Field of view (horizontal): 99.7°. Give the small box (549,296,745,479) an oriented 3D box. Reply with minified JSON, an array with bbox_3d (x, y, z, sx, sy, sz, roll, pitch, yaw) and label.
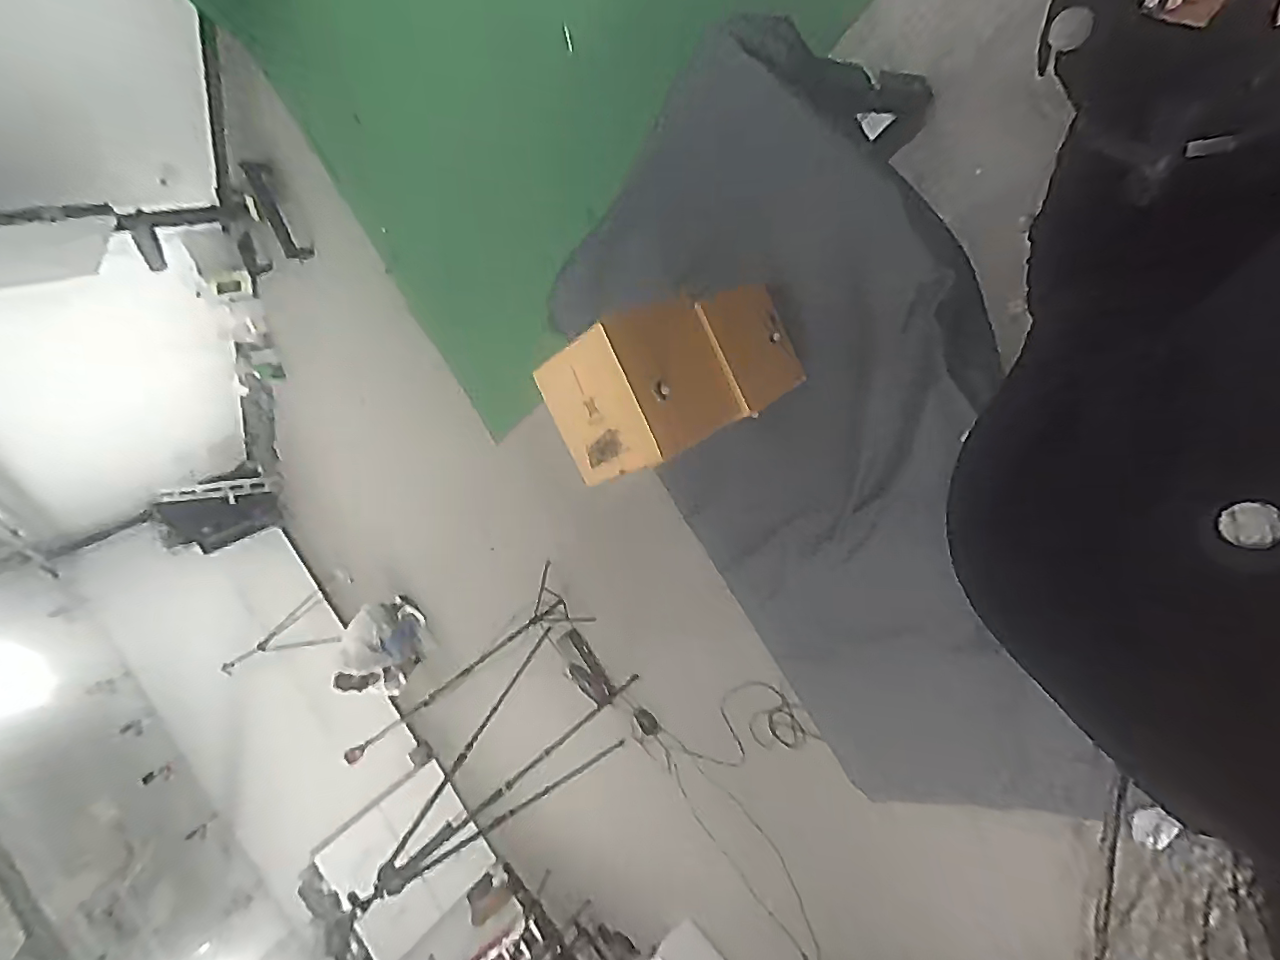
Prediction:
[{"bbox_3d":[0.014,-0.125,0.737,0.168,0.176,0.179,-18,100,50],"label":"small box"}]
